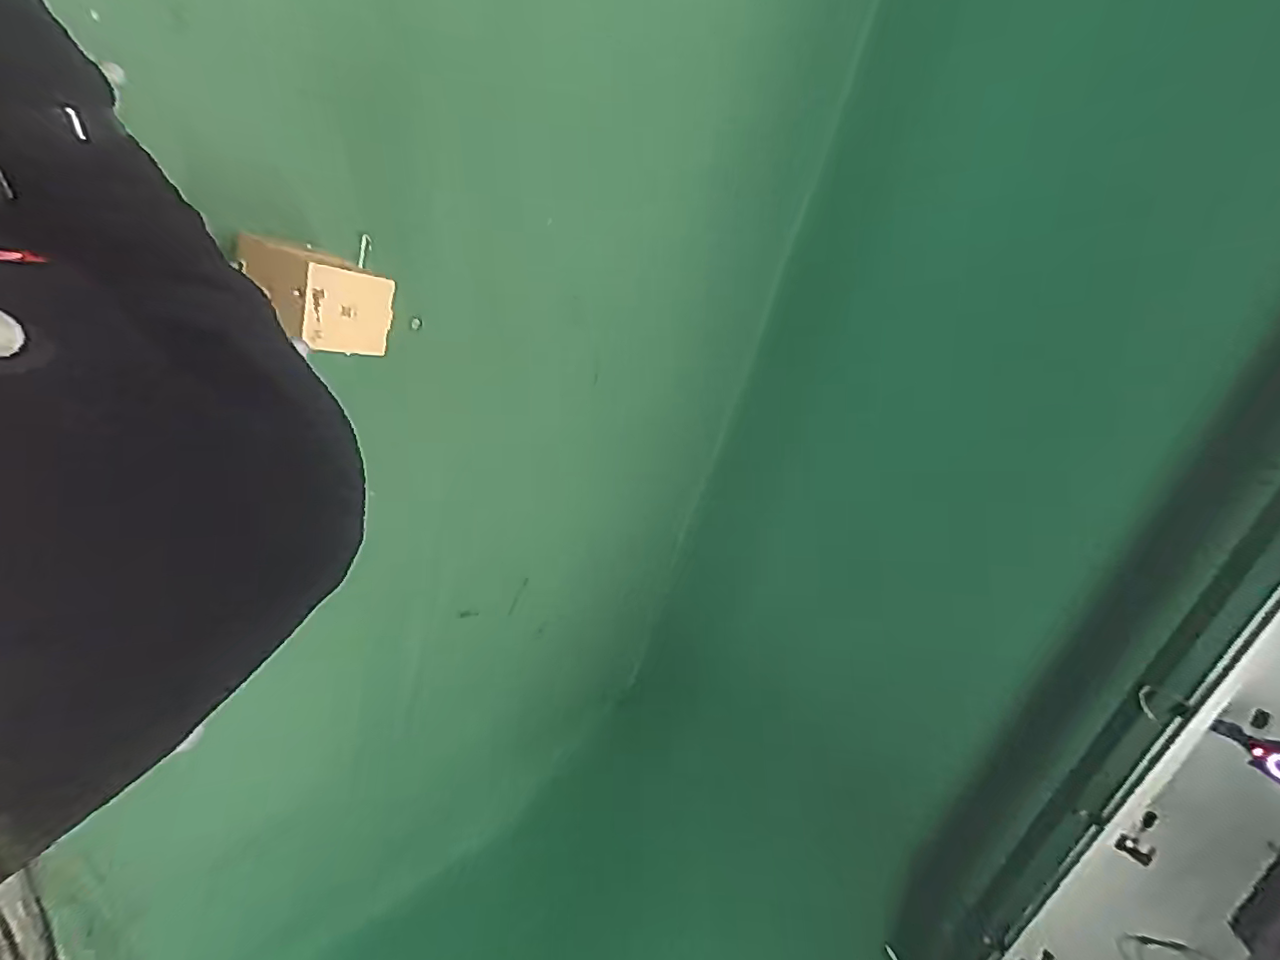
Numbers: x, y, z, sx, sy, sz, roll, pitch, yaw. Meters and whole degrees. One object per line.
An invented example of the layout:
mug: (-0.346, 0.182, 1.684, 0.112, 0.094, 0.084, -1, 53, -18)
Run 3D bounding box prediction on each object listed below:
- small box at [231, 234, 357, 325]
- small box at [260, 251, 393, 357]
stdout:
small box: (-0.771, -0.432, 1.204, 0.179, 0.176, 0.168, -7, 118, -56)
small box: (-0.658, -0.370, 1.136, 0.179, 0.176, 0.168, -10, 122, -56)
